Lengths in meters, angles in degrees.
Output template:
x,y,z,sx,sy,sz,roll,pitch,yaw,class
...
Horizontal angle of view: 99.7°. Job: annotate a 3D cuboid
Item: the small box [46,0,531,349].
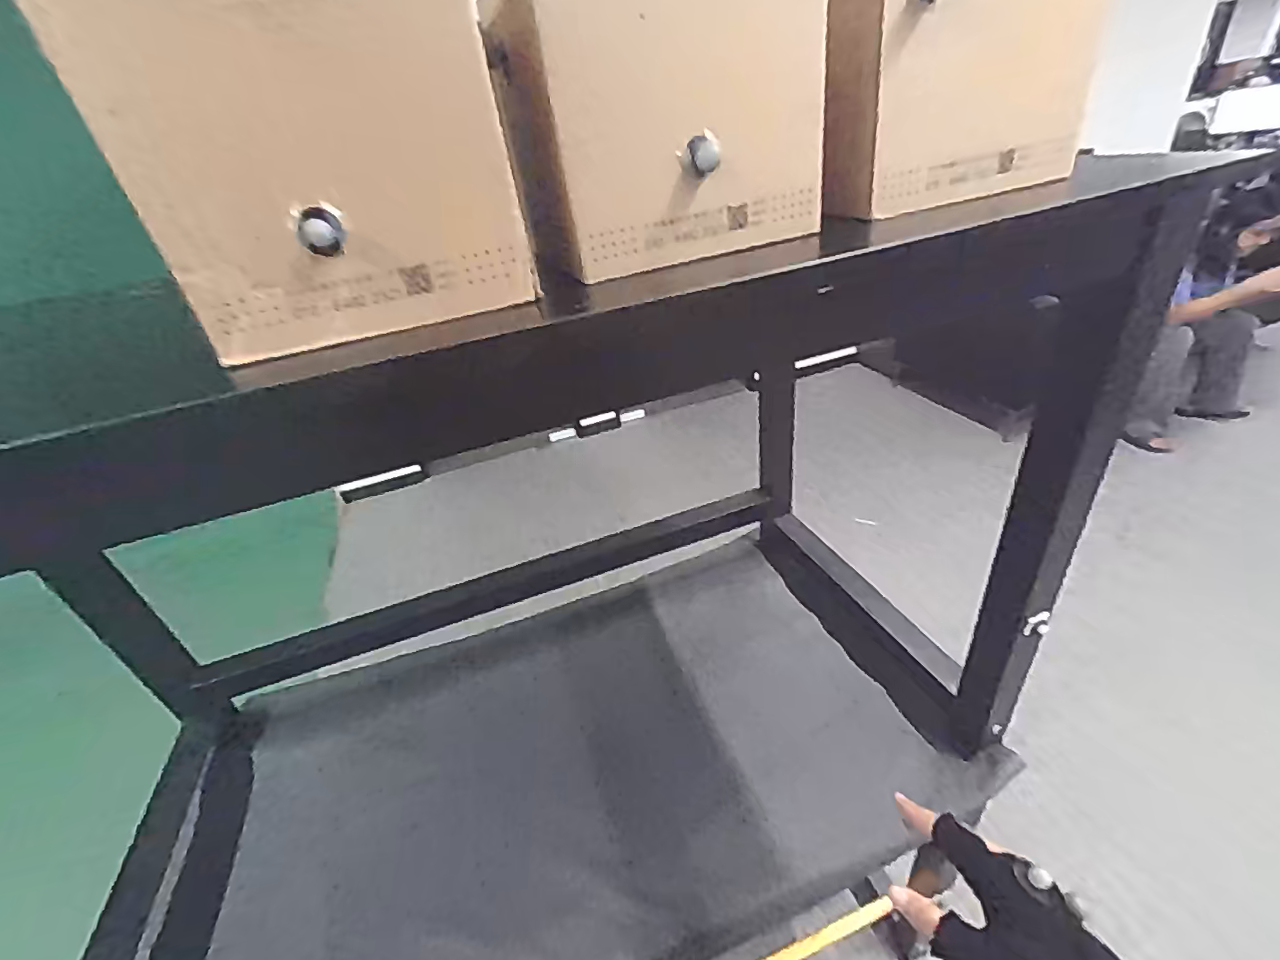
x,y,z,sx,sy,sz,roll,pitch,yaw,class
-0.173,-0.189,0.319,0.168,0.176,0.179,-17,33,-13,small box
